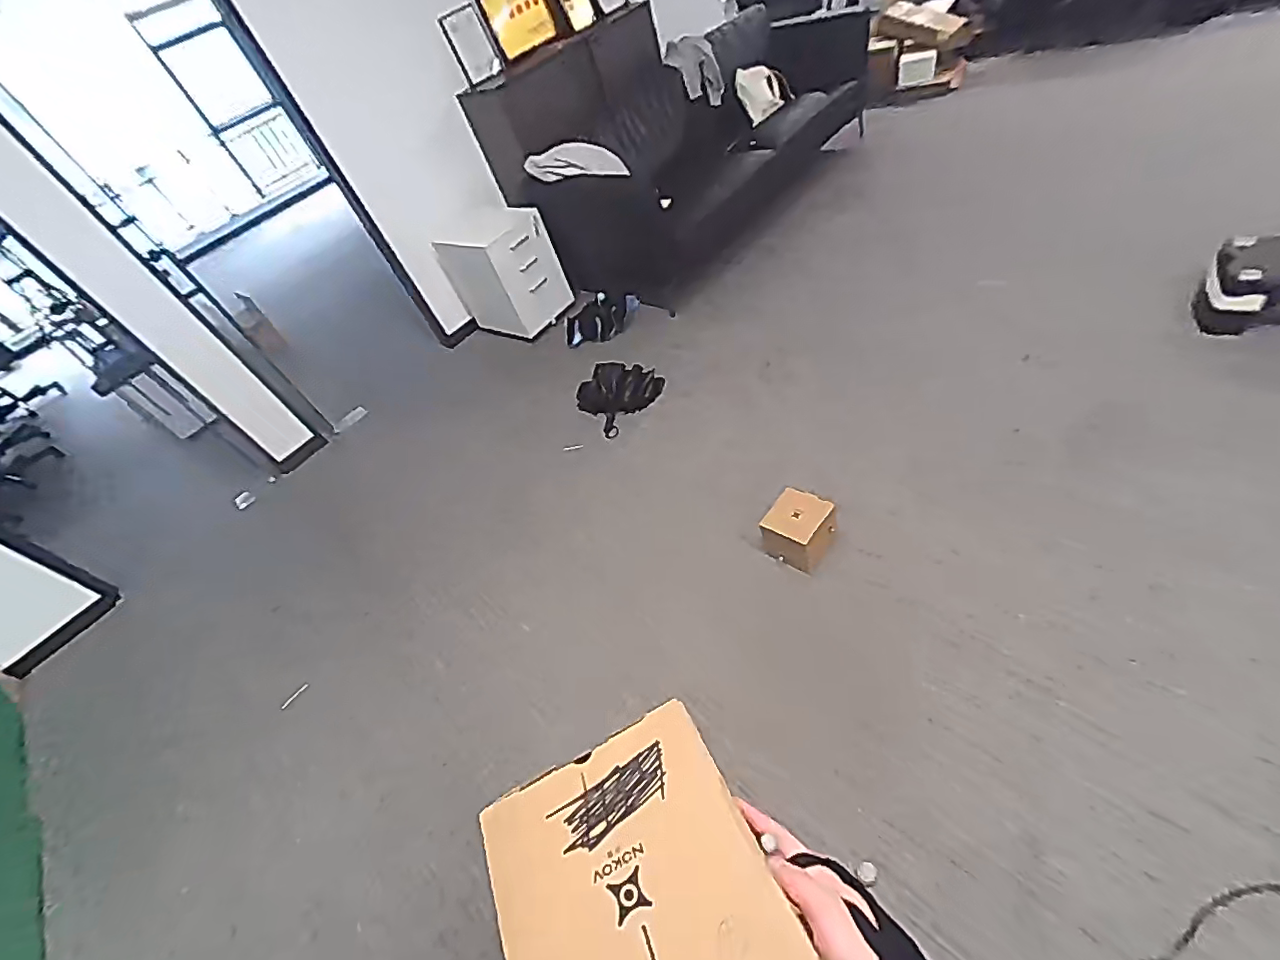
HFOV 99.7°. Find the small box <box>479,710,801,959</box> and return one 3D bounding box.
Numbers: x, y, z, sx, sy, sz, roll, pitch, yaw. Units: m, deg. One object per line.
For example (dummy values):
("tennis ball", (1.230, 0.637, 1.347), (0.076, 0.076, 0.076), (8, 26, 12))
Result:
("small box", (0.006, 0.313, 0.392), (0.168, 0.176, 0.179), (-26, 43, -8))

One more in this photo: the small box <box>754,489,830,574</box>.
("small box", (0.487, 0.165, 1.719), (0.168, 0.176, 0.179), (25, 63, 38))
